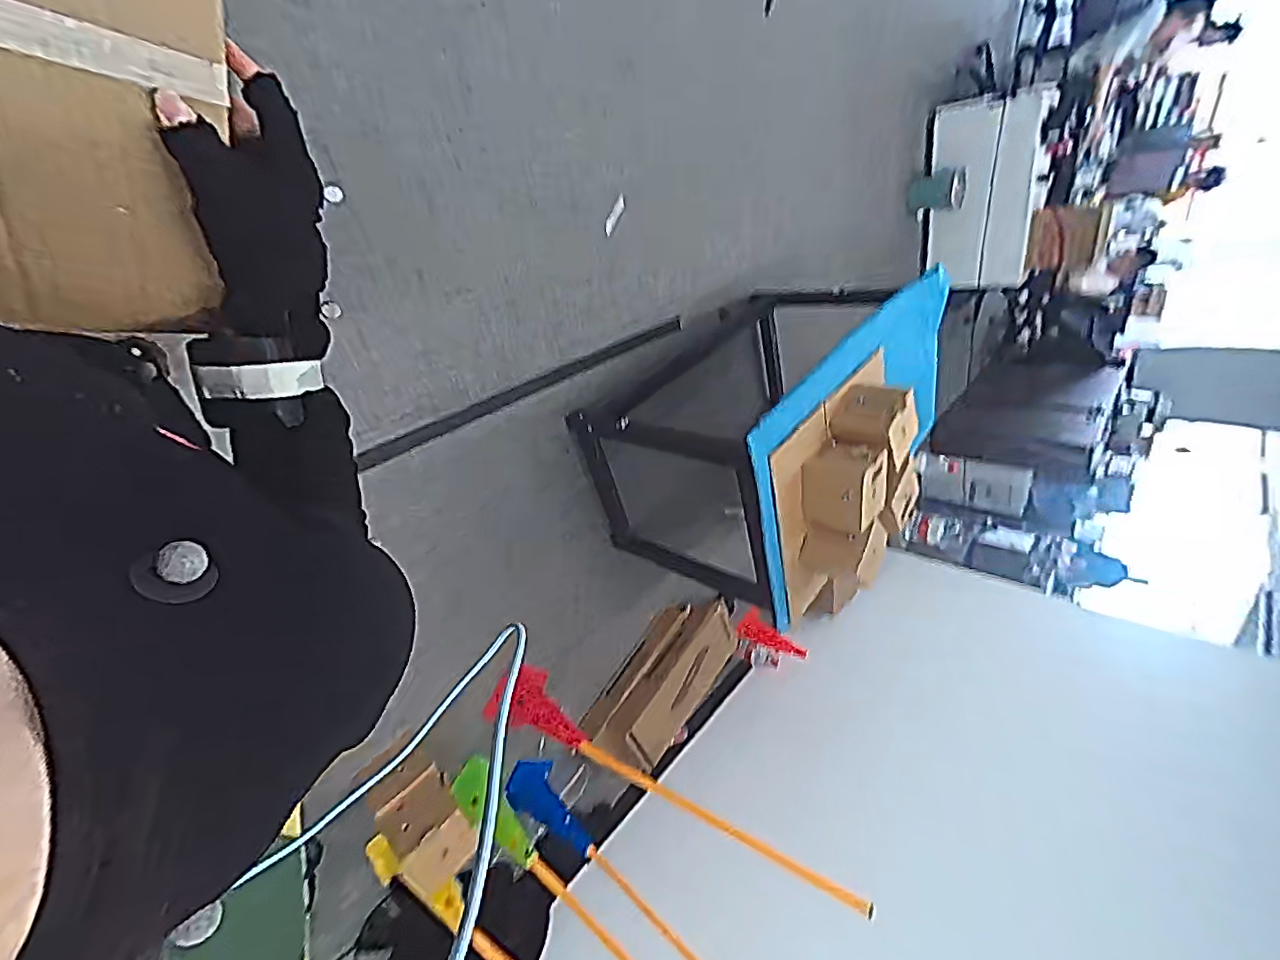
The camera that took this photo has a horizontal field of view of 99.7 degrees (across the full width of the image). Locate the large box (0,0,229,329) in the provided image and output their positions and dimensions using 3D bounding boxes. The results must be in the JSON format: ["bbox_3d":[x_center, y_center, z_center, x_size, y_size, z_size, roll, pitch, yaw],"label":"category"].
[{"bbox_3d":[-0.485,-0.282,0.248,0.408,0.320,0.320,-14,139,-45],"label":"large box"}]
